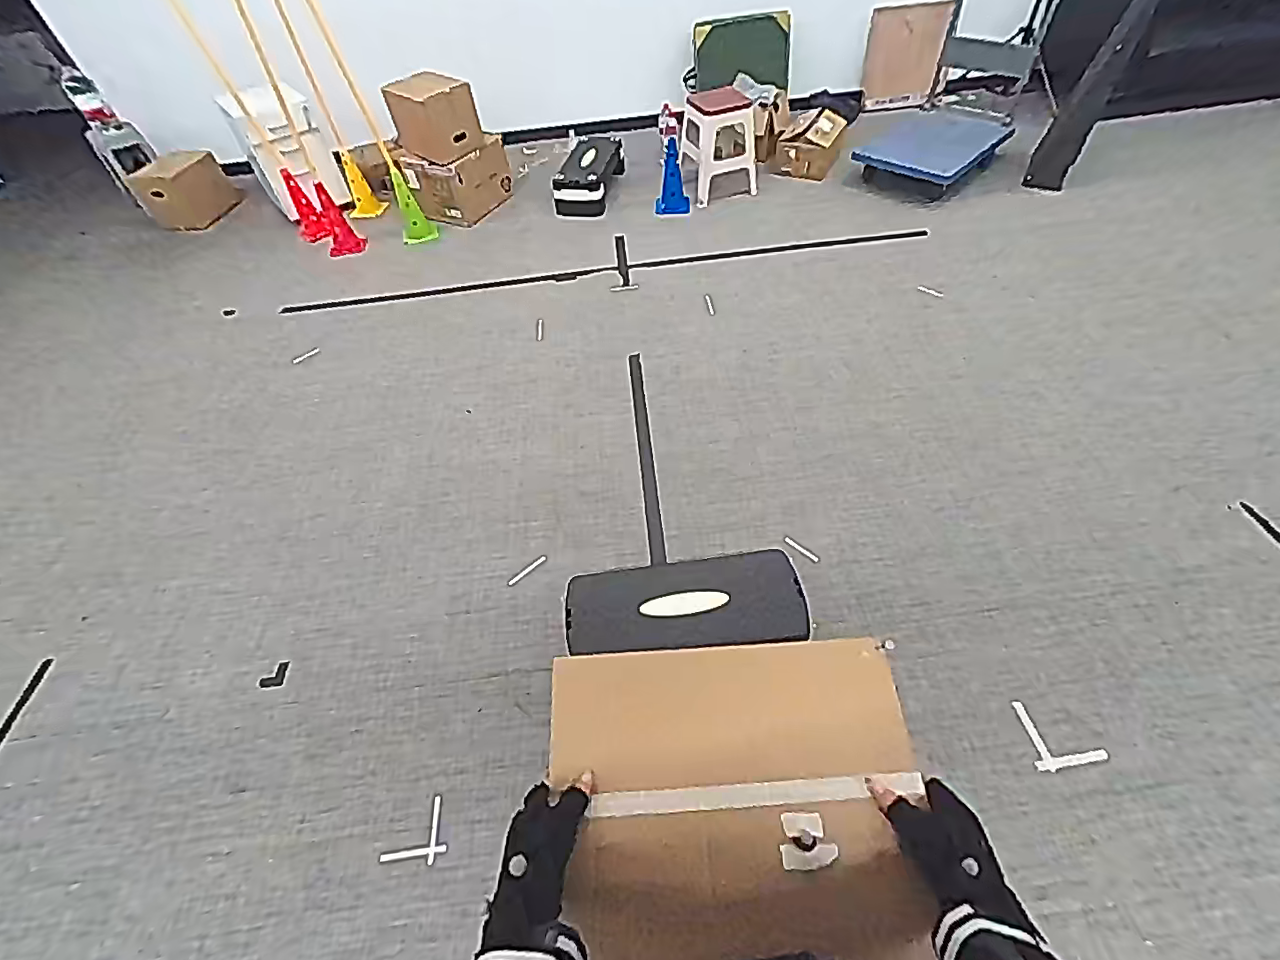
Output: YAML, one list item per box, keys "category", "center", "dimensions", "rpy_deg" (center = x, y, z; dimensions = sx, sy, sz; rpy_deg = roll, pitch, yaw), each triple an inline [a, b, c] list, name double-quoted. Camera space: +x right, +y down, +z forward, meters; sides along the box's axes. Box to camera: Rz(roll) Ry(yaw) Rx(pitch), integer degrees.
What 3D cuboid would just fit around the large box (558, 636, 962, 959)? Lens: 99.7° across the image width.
- category: "large box"
  center: [0.111, 0.419, 0.726]
  dimensions: [0.408, 0.320, 0.320]
  rpy_deg: [-4, 60, 0]
